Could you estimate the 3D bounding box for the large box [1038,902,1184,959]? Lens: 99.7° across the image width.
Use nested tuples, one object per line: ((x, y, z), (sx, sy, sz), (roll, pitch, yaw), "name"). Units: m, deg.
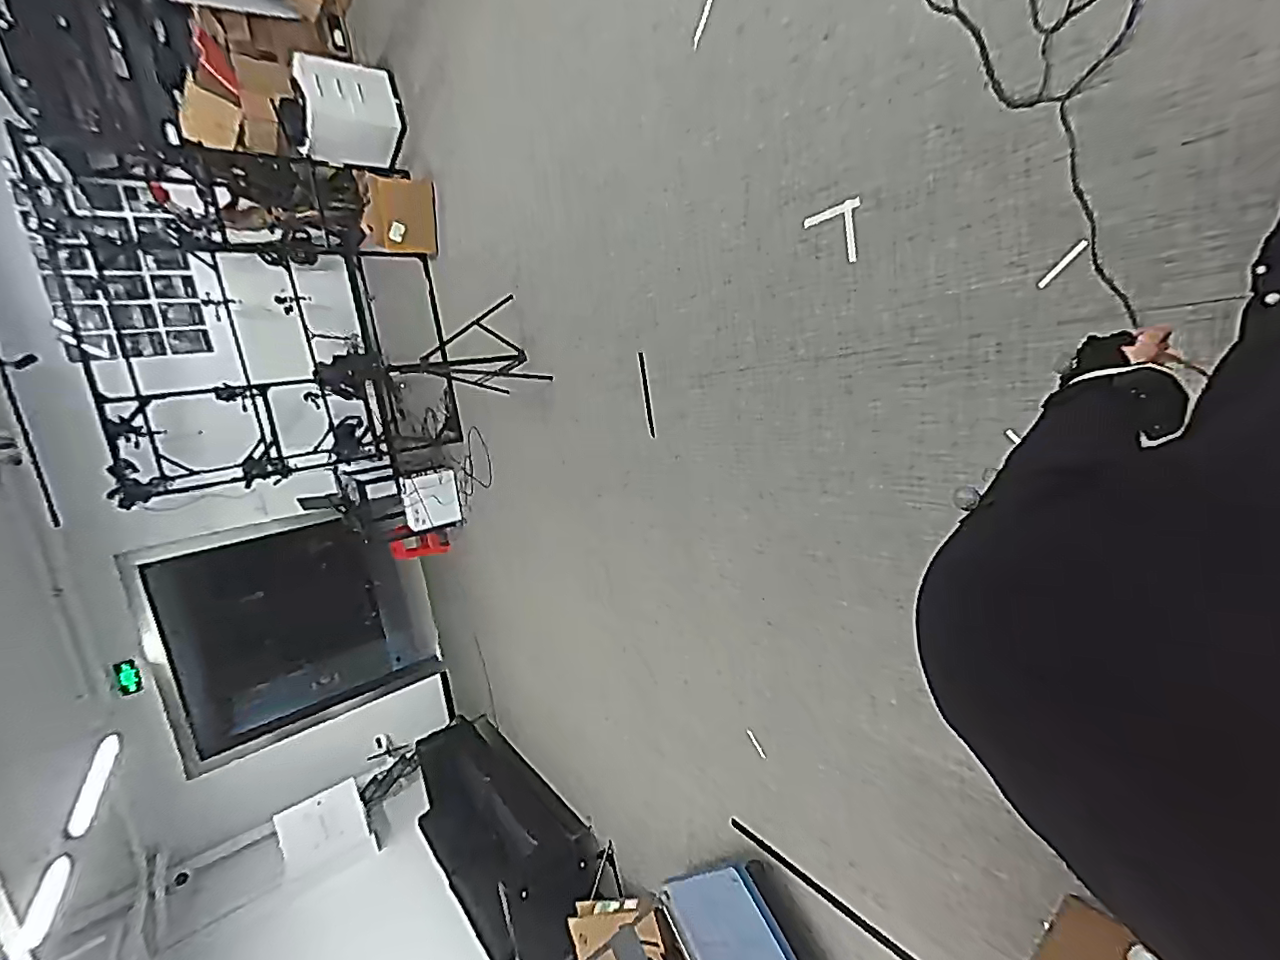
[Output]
((1.090, 1.290, 1.192), (0.320, 0.320, 0.408), (5, 105, 54), "large box")
